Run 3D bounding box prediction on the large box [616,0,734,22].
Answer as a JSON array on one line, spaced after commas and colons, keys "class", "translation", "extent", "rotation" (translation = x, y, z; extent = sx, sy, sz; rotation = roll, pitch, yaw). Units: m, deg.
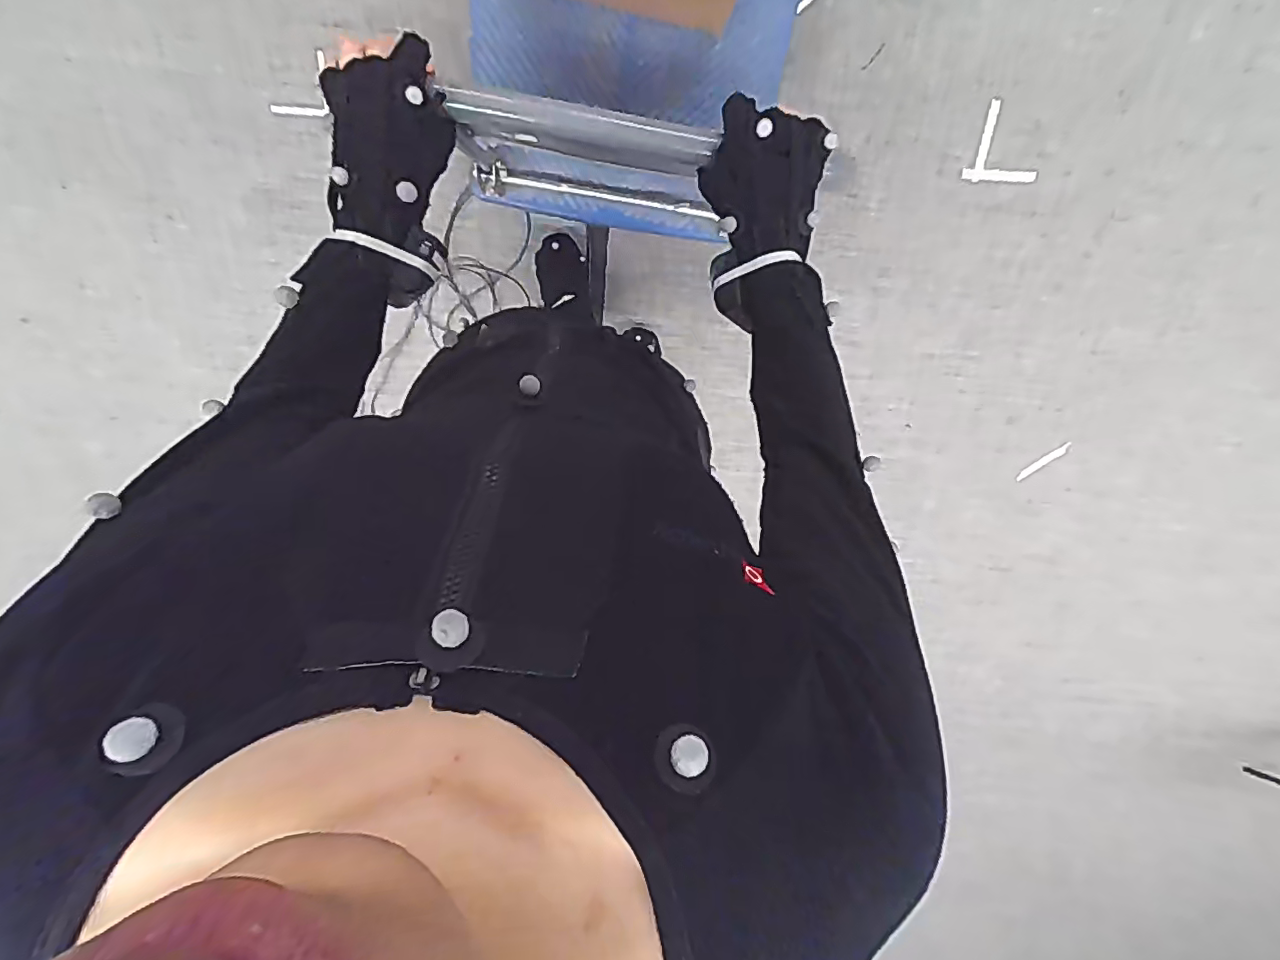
[{"class": "large box", "translation": [-0.016, -0.937, 0.783], "extent": [0.408, 0.320, 0.320], "rotation": [10, 114, -5]}]
